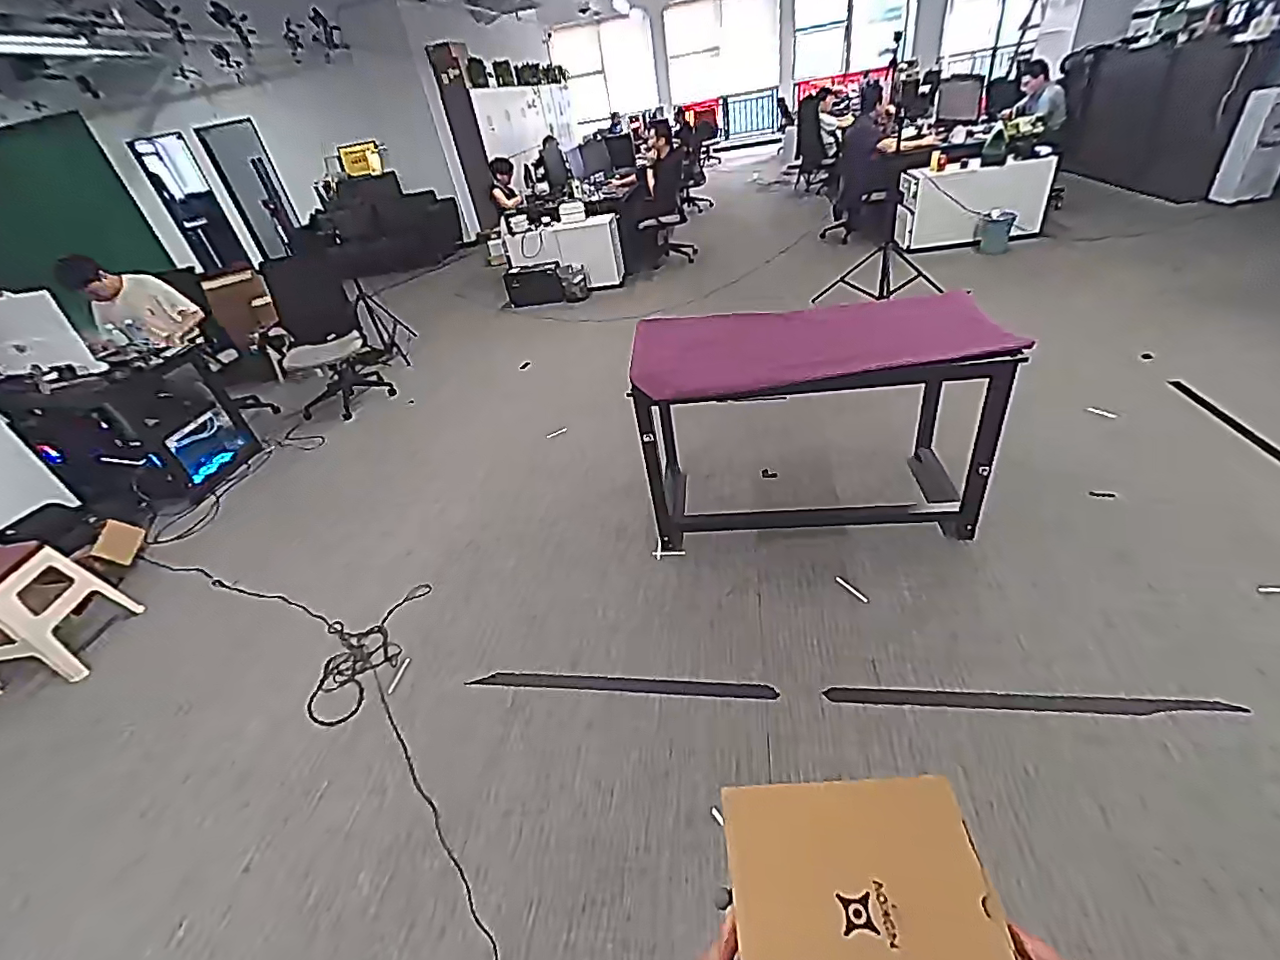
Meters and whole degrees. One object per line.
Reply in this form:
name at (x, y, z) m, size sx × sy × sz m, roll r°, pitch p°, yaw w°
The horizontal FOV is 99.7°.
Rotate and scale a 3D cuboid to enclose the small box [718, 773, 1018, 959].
small box at (0.159, 0.346, 0.416) m, size 0.179 × 0.176 × 0.168 m, roll -6°, pitch 44°, yaw 4°
